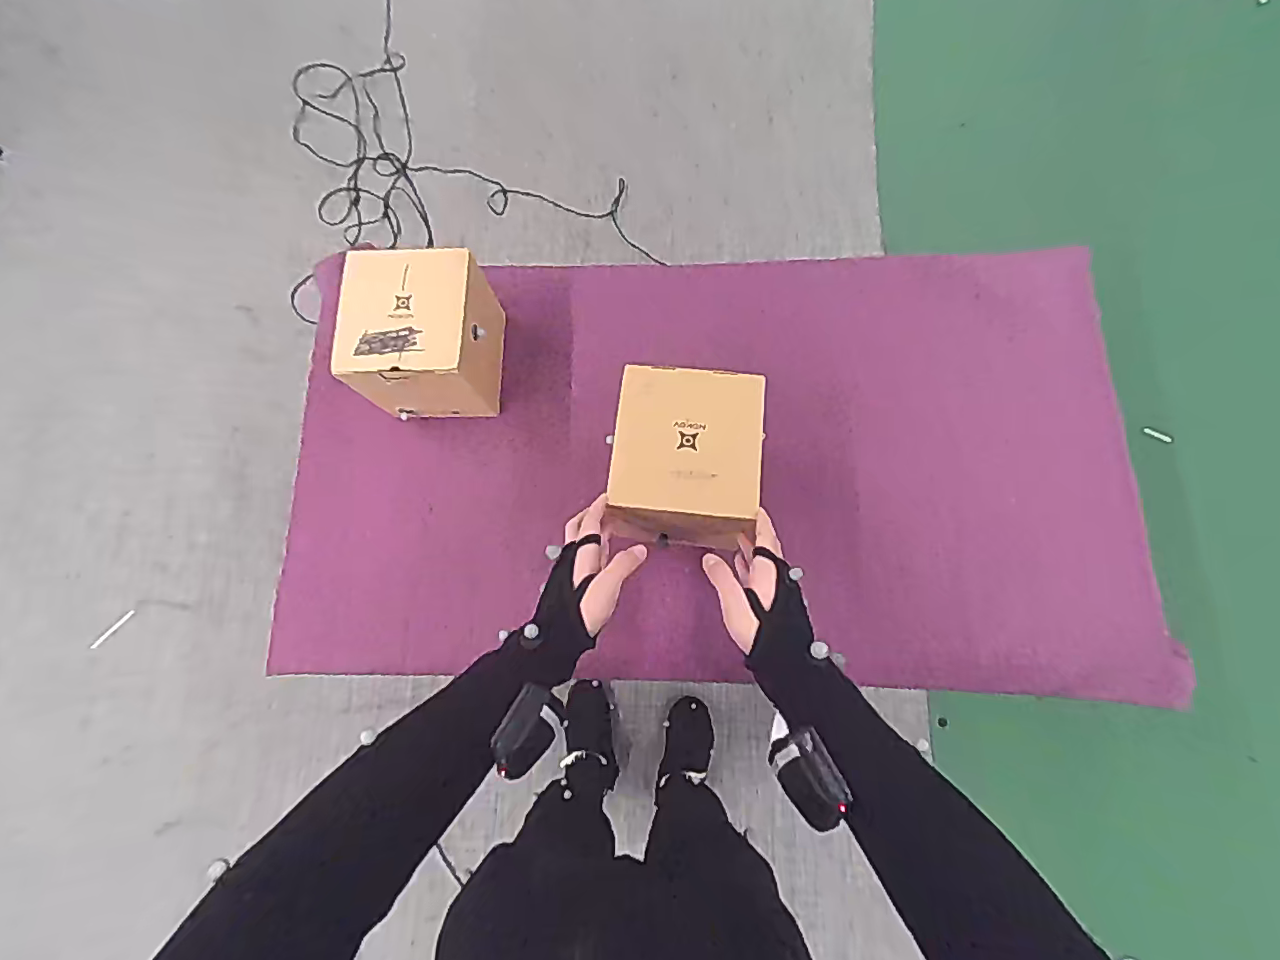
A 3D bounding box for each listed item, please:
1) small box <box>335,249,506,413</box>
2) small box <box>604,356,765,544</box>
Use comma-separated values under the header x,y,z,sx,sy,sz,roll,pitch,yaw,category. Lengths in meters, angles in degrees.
x,y,z,sx,sy,sz,roll,pitch,yaw,category
-0.298,-0.201,0.771,0.168,0.176,0.179,0,76,2,small box
0.054,-0.029,0.678,0.168,0.176,0.179,6,72,4,small box
